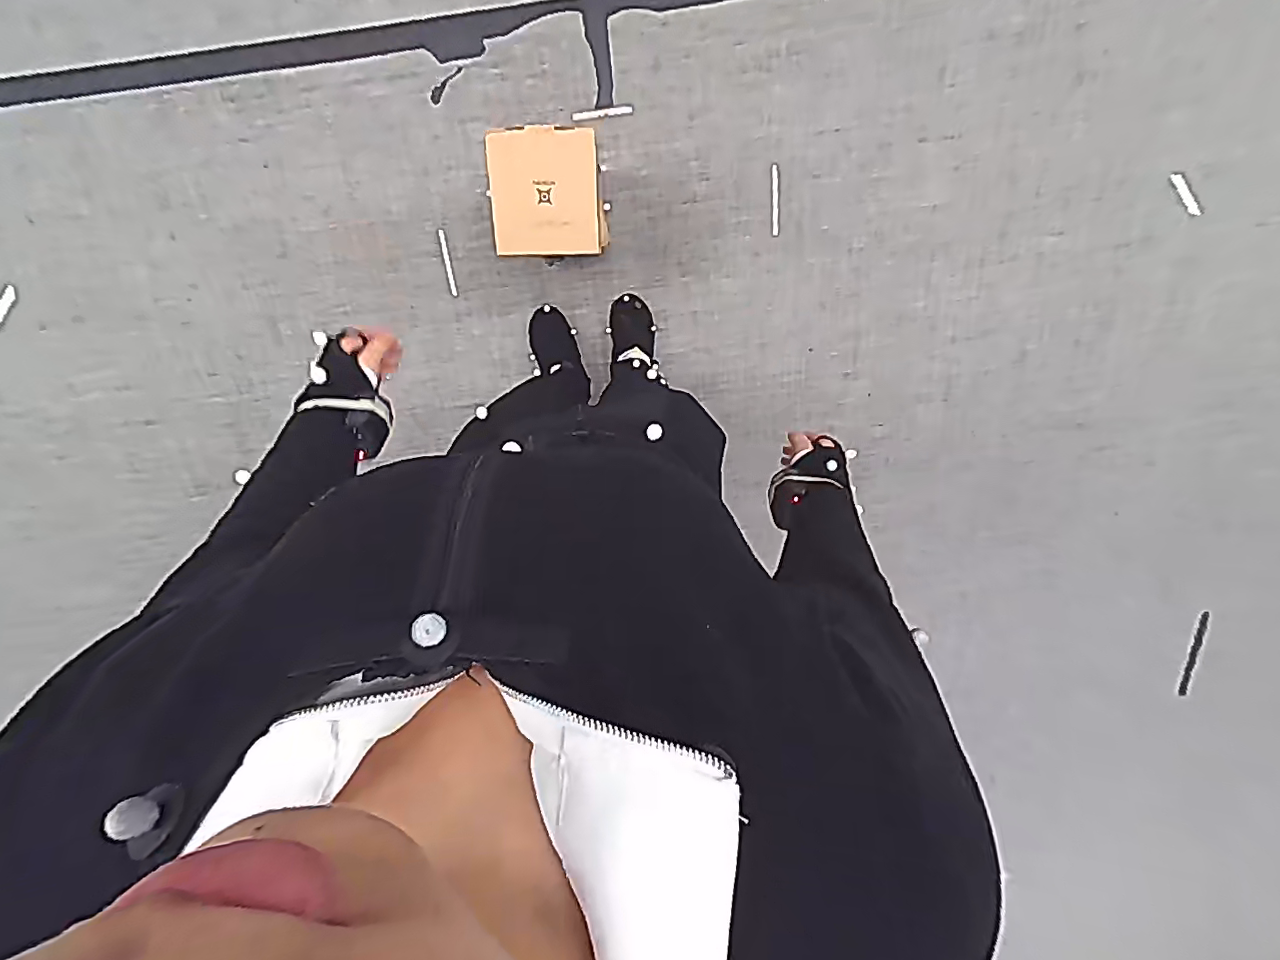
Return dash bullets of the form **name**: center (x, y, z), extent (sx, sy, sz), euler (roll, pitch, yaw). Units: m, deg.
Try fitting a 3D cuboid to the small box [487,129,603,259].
- **small box**: center (-0.148, -0.465, 0.899), extent (0.168, 0.176, 0.179), euler (-2, 113, -1)
